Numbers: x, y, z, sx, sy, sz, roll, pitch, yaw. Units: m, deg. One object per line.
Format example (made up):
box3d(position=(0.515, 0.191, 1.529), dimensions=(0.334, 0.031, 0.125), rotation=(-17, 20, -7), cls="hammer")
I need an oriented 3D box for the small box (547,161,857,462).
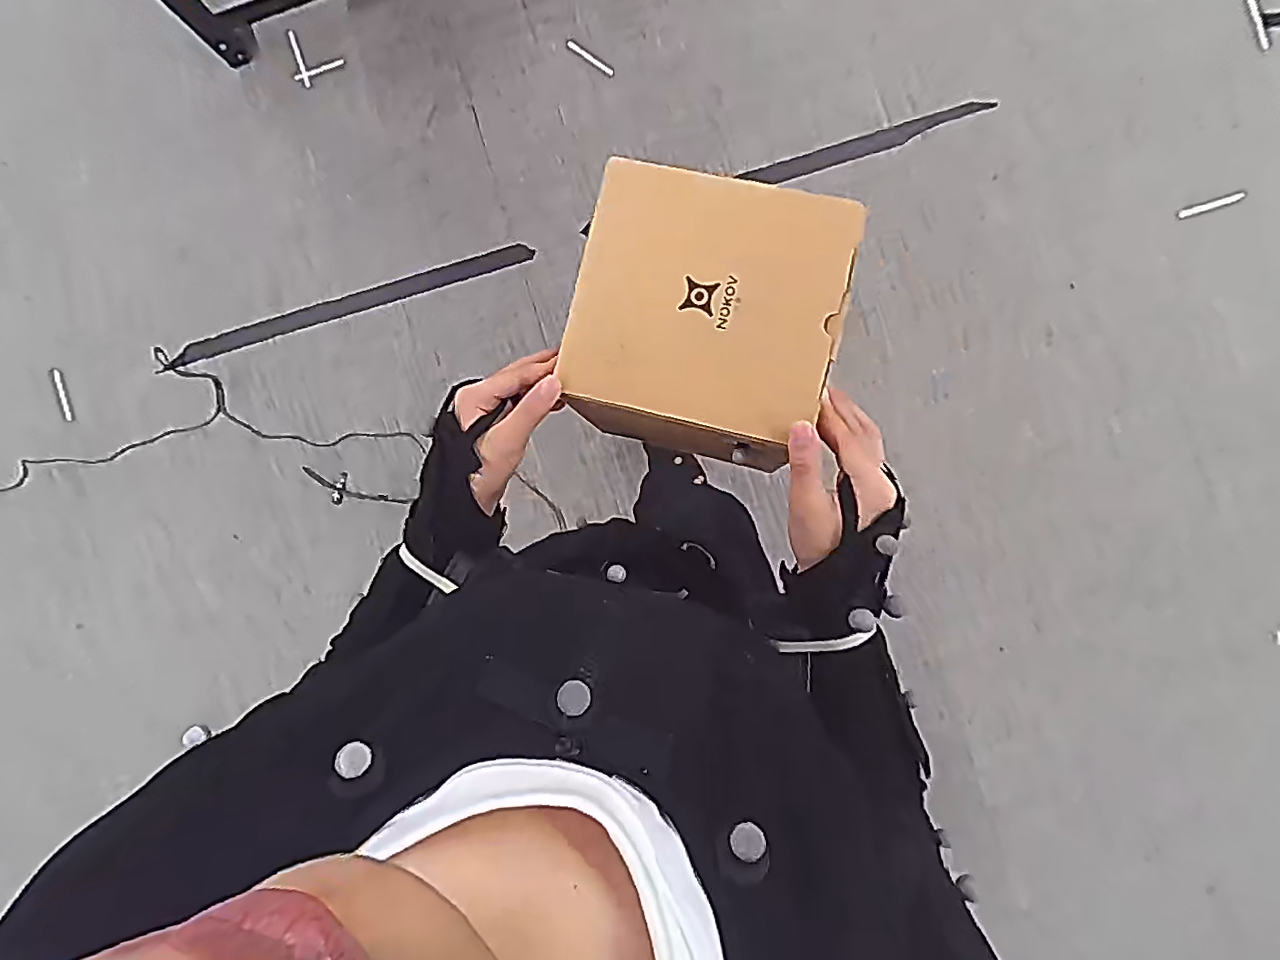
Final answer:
box3d(position=(0.048, -0.116, 0.439), dimensions=(0.179, 0.176, 0.168), rotation=(14, 87, 6), cls="small box")
